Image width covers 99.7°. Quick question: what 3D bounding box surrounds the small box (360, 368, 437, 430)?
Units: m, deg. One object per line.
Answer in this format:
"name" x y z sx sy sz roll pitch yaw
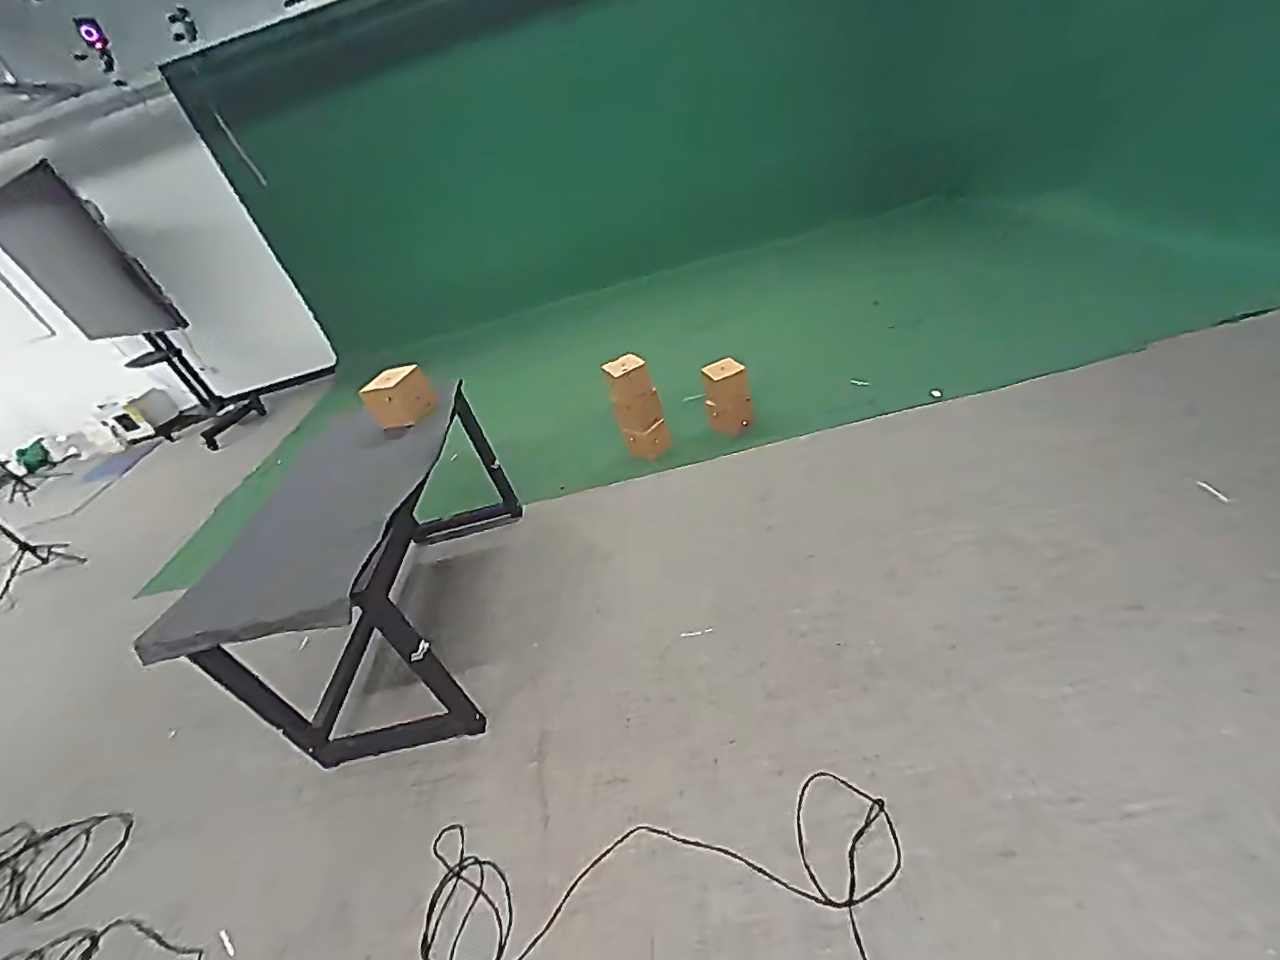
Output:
"small box" -0.922 -0.308 2.081 0.179 0.176 0.168 -4 37 24

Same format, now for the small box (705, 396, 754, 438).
"small box" 0.461 -0.334 2.775 0.168 0.176 0.179 -37 40 -25

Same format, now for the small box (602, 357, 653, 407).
"small box" -0.061 -0.476 2.631 0.168 0.176 0.179 -29 36 -14

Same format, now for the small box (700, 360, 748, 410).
"small box" 0.423 -0.467 2.689 0.168 0.176 0.179 -23 34 -9

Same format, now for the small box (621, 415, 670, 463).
"small box" 0.034 -0.211 2.803 0.179 0.176 0.168 18 49 41
